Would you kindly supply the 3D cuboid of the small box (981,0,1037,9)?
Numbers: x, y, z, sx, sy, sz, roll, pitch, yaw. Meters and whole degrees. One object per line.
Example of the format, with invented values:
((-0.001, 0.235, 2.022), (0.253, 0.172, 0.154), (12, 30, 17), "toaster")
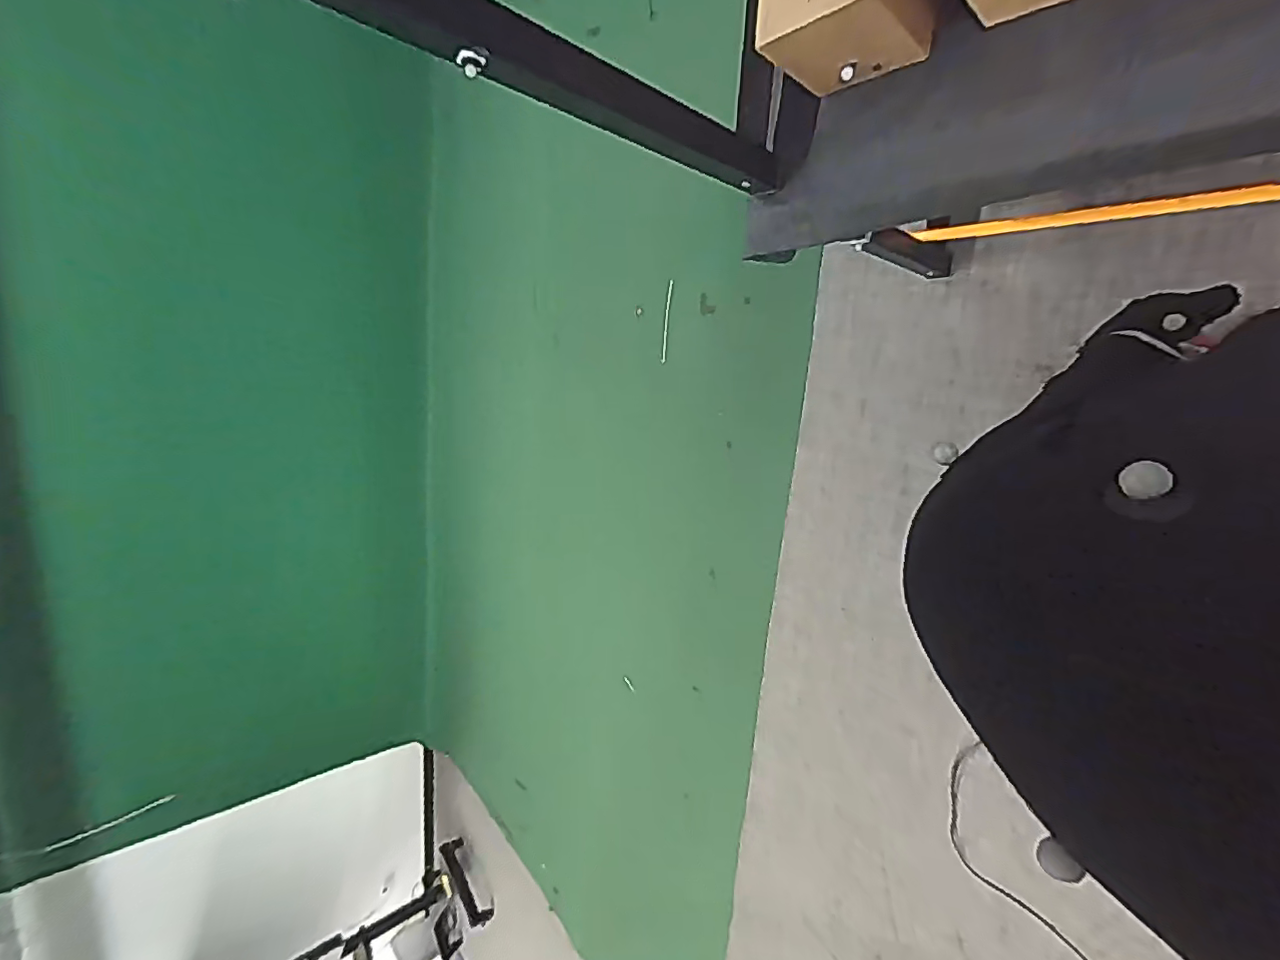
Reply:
((0.432, -0.626, 0.542), (0.168, 0.176, 0.179), (18, 107, 46), "small box")

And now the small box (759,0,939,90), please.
((0.281, -0.661, 0.708), (0.168, 0.176, 0.179), (16, 106, 47), "small box")
